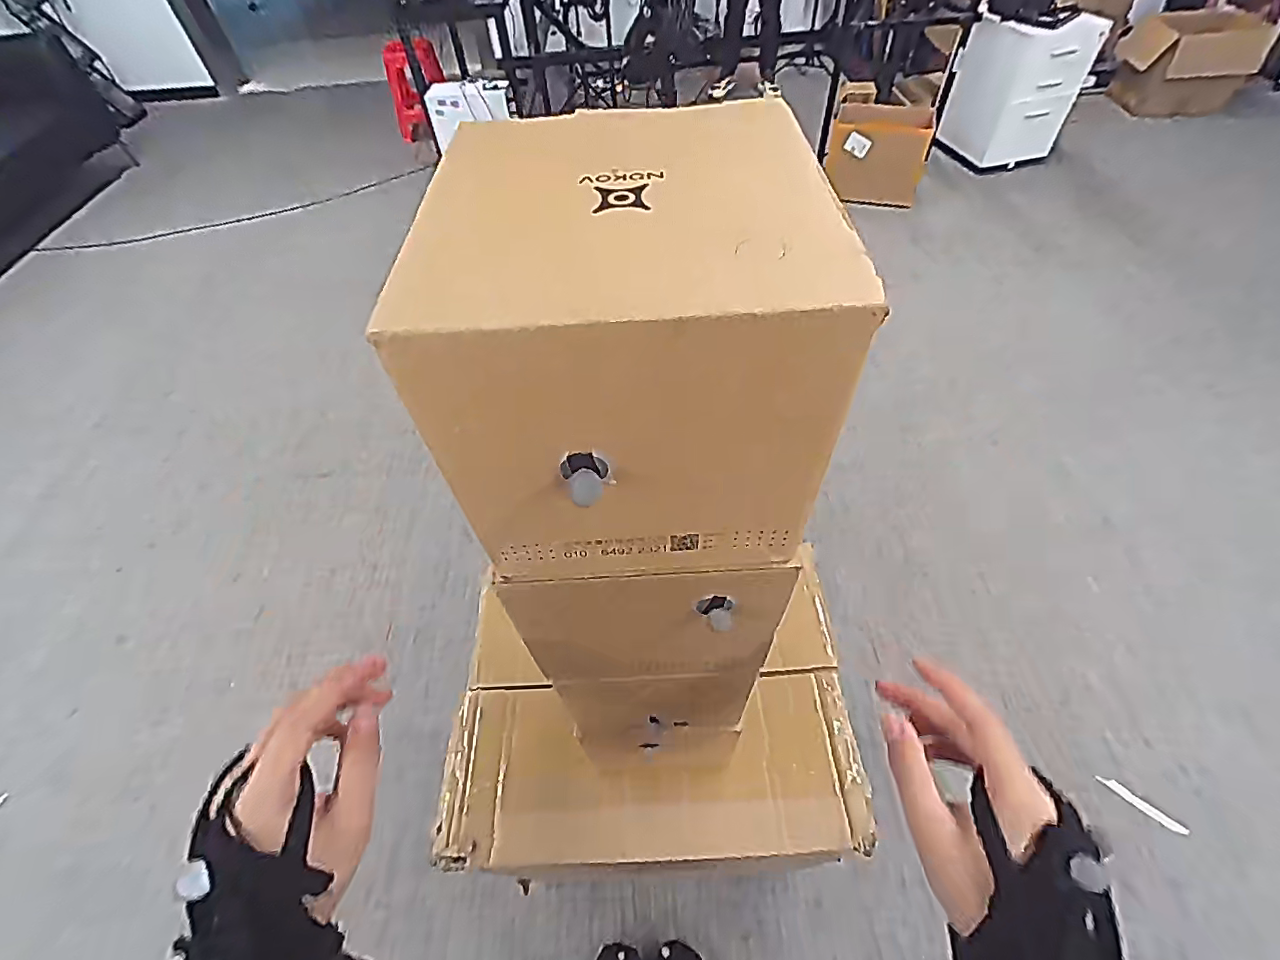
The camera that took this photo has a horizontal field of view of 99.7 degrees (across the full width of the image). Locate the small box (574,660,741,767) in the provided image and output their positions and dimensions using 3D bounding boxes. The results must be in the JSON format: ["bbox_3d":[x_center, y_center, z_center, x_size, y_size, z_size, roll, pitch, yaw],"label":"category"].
[{"bbox_3d":[0.021,0.245,0.664,0.179,0.176,0.168,-3,52,1],"label":"small box"}]

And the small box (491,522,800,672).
[{"bbox_3d":[0.004,0.036,0.411,0.179,0.176,0.168,-4,52,1],"label":"small box"}]

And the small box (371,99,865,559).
[{"bbox_3d":[-0.005,-0.069,0.286,0.168,0.176,0.179,-4,52,1],"label":"small box"}]
